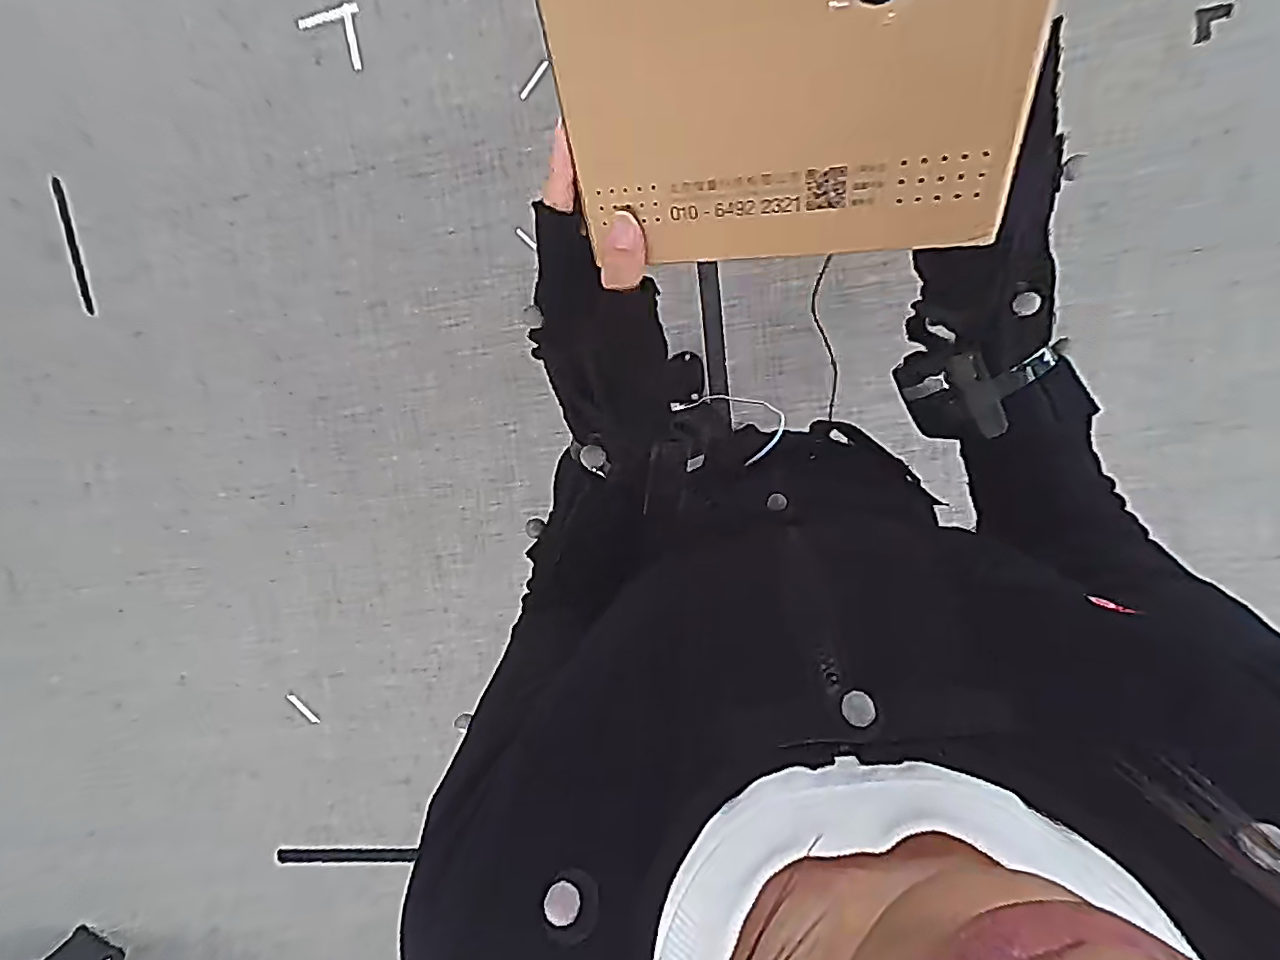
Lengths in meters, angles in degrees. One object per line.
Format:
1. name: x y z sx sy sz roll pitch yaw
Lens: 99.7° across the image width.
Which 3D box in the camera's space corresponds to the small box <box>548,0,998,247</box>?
1. small box: 0.069 -0.221 0.255 0.168 0.179 0.176 7 134 22
